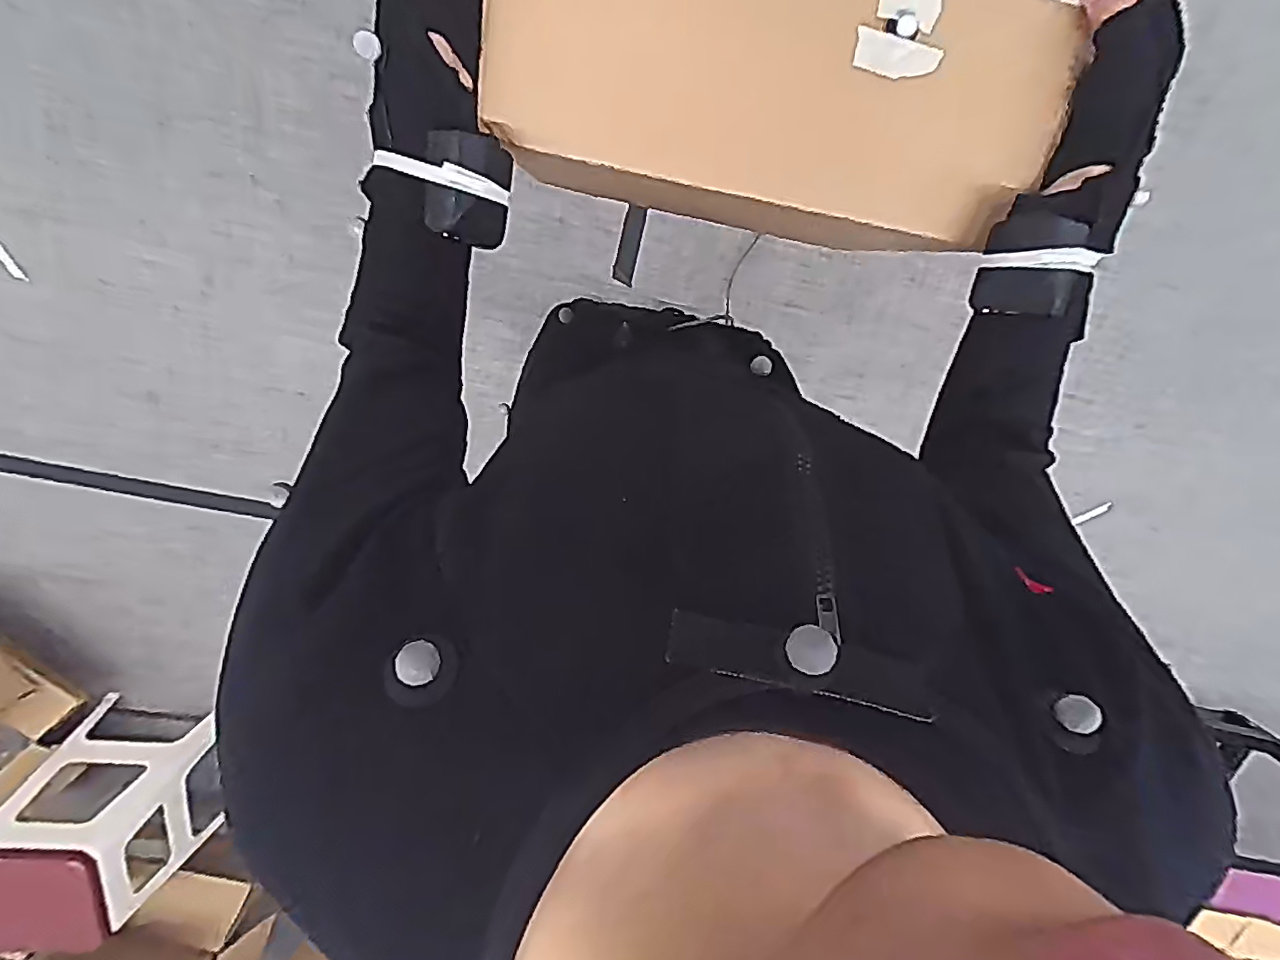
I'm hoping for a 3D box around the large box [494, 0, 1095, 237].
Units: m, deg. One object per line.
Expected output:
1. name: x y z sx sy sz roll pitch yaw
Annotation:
1. large box: 0.105 -0.416 0.479 0.408 0.320 0.320 8 114 -8
